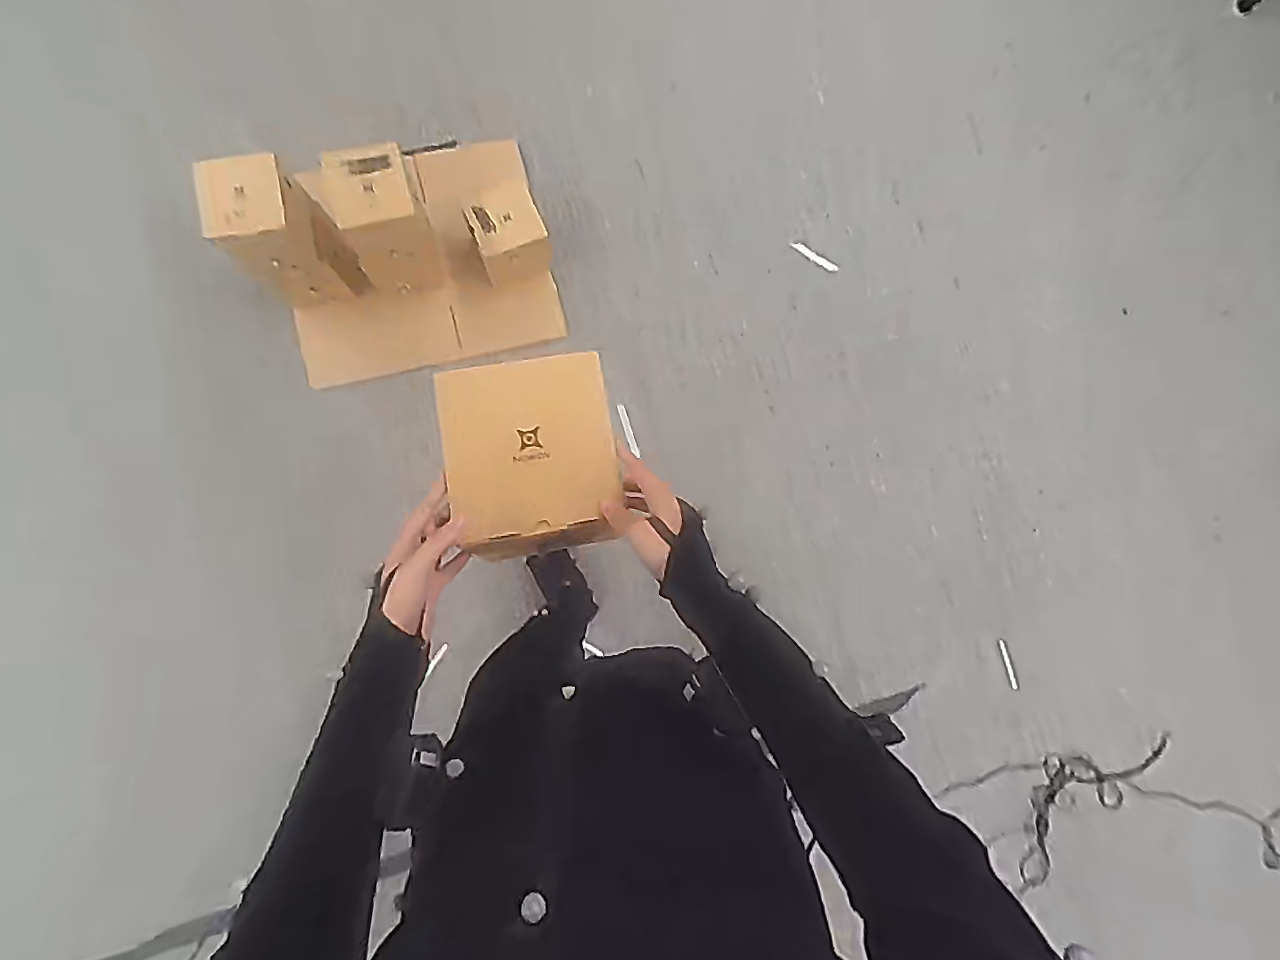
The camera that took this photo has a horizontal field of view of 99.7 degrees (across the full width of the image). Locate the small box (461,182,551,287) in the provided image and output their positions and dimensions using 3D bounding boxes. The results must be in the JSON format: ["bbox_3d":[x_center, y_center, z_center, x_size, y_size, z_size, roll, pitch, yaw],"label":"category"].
[{"bbox_3d":[-0.347,-0.642,1.437,0.179,0.176,0.168,-23,87,-8],"label":"small box"}]

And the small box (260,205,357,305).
[{"bbox_3d":[-0.847,-0.561,1.376,0.168,0.176,0.179,-12,86,-7],"label":"small box"}]

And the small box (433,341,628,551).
[{"bbox_3d":[-0.113,-0.027,0.591,0.168,0.176,0.179,-10,79,-7],"label":"small box"}]

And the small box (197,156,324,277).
[{"bbox_3d":[-0.841,-0.584,1.212,0.168,0.176,0.179,-11,85,-6],"label":"small box"}]

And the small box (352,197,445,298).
[{"bbox_3d":[-0.621,-0.599,1.405,0.168,0.176,0.179,-11,85,-7],"label":"small box"}]
